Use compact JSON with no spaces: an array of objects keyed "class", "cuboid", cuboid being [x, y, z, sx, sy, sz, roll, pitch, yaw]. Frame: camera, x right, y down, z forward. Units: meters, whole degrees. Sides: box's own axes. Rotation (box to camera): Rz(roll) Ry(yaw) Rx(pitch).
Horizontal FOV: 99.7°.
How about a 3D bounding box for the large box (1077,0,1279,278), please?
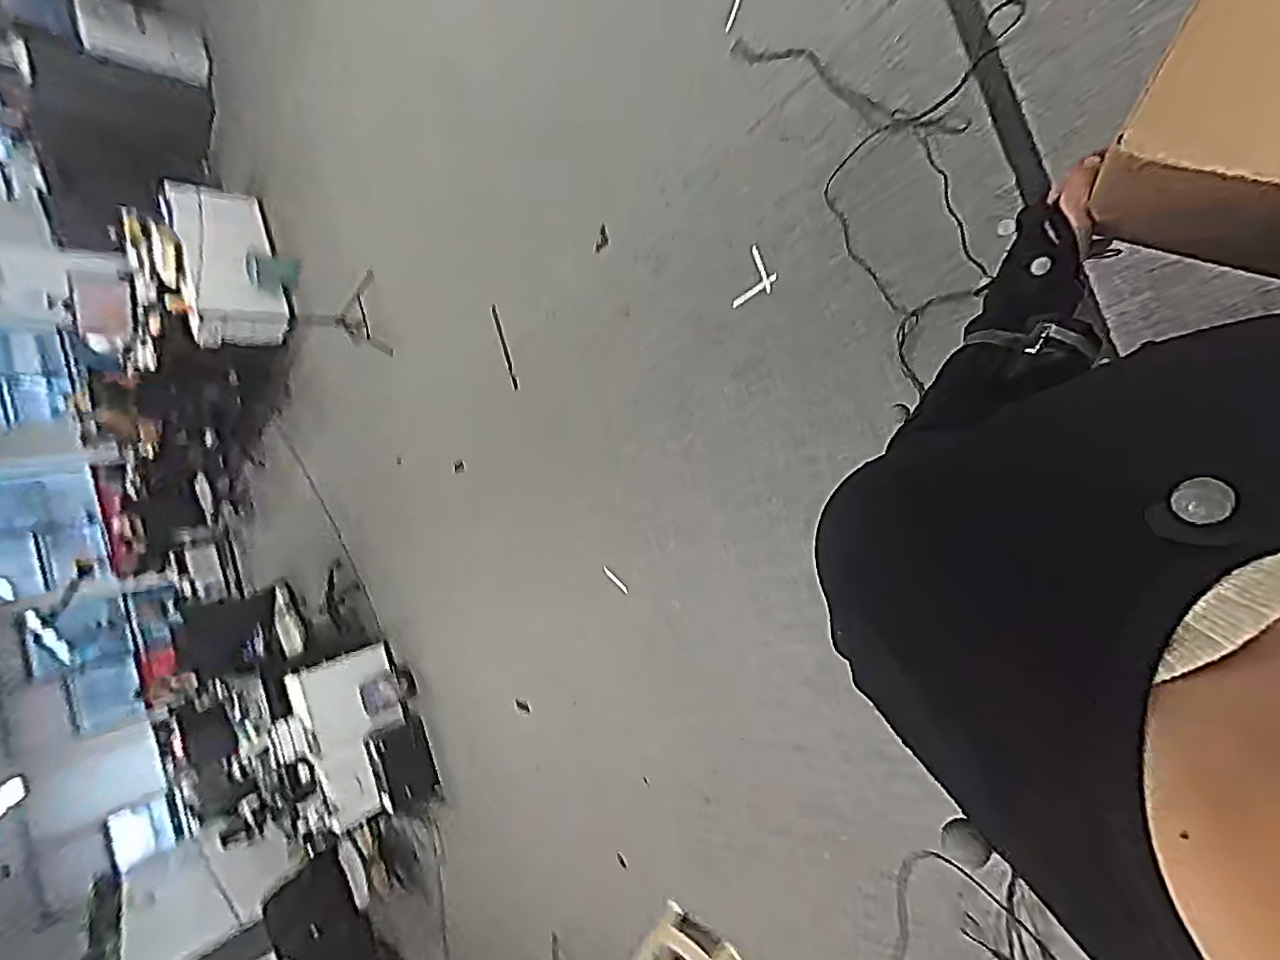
[{"class":"large box","cuboid":[0.493,-0.231,0.215,0.408,0.320,0.320,29,120,26]}]
